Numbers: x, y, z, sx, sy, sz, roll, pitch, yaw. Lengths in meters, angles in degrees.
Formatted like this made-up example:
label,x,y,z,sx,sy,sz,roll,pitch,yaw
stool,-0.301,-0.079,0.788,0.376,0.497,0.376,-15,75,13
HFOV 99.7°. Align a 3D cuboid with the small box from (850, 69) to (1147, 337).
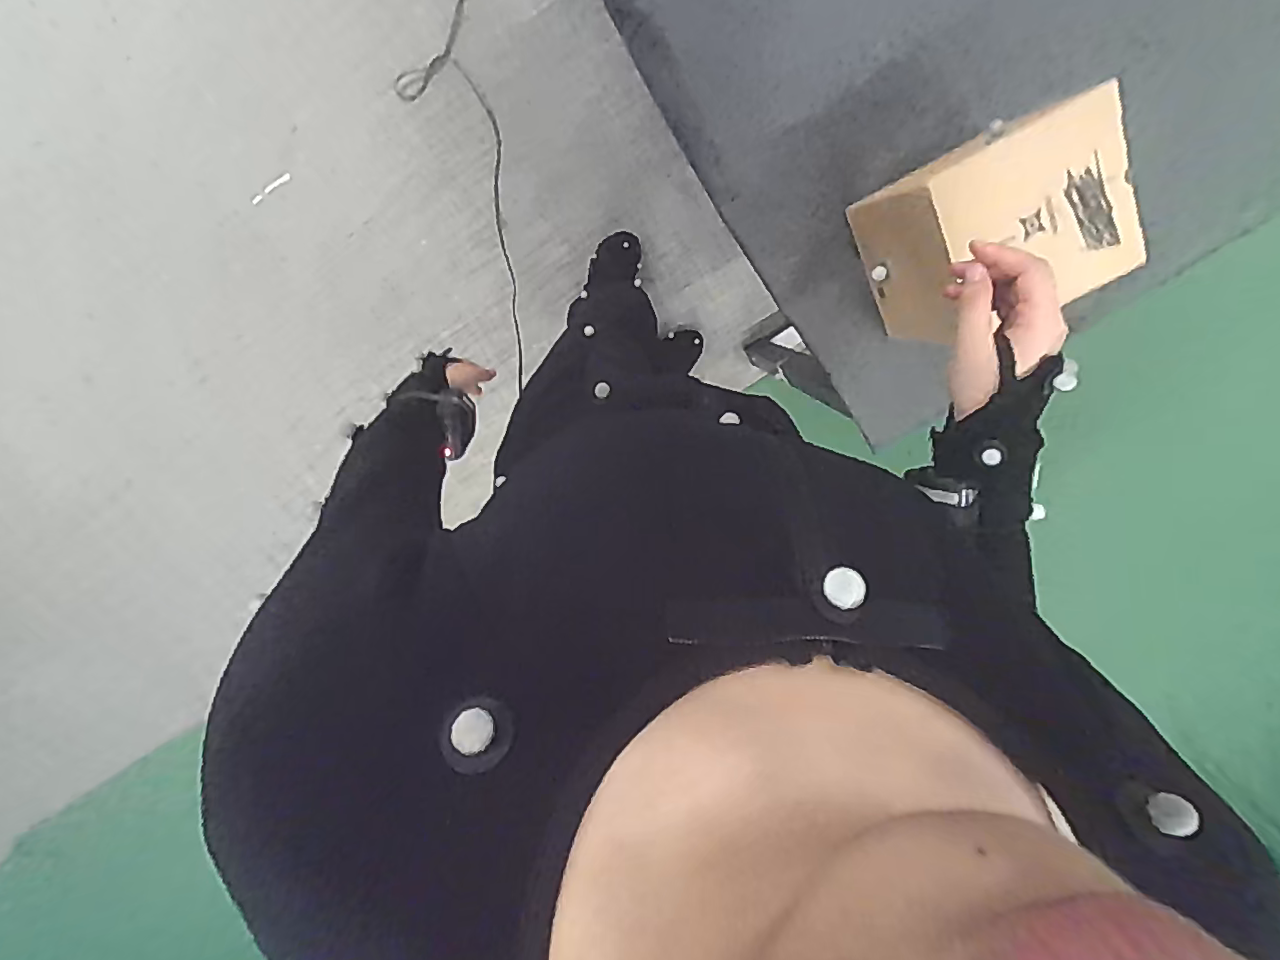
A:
label,x,y,z,sx,sy,sz,roll,pitch,yaw
small box,0.353,-0.266,0.559,0.179,0.176,0.168,-27,108,5
